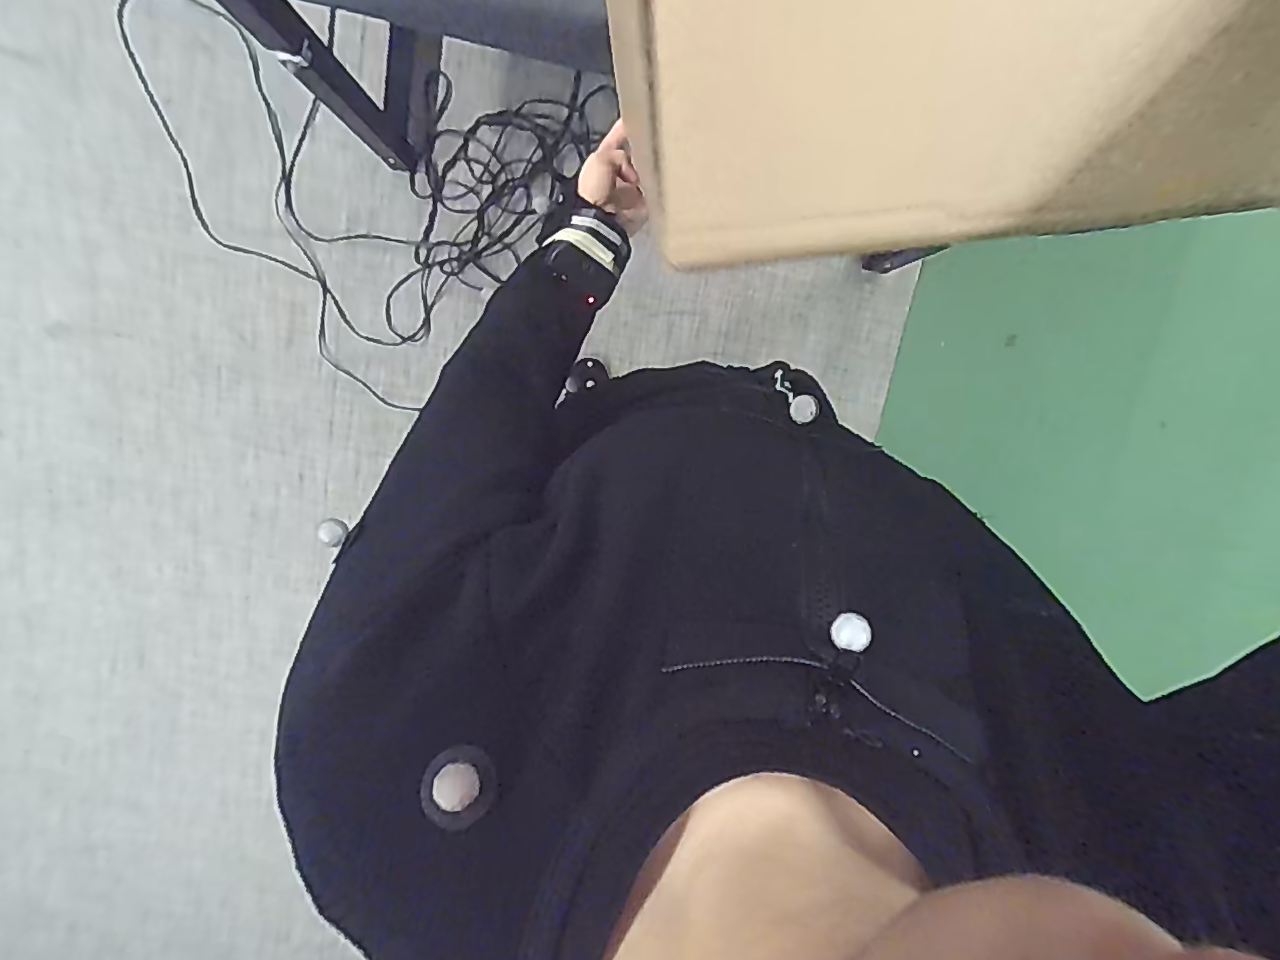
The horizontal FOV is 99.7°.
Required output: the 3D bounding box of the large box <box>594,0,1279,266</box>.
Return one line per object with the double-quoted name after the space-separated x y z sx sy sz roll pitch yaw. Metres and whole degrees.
0.129 -0.353 0.271 0.320 0.408 0.320 -9 132 -1 "large box"
